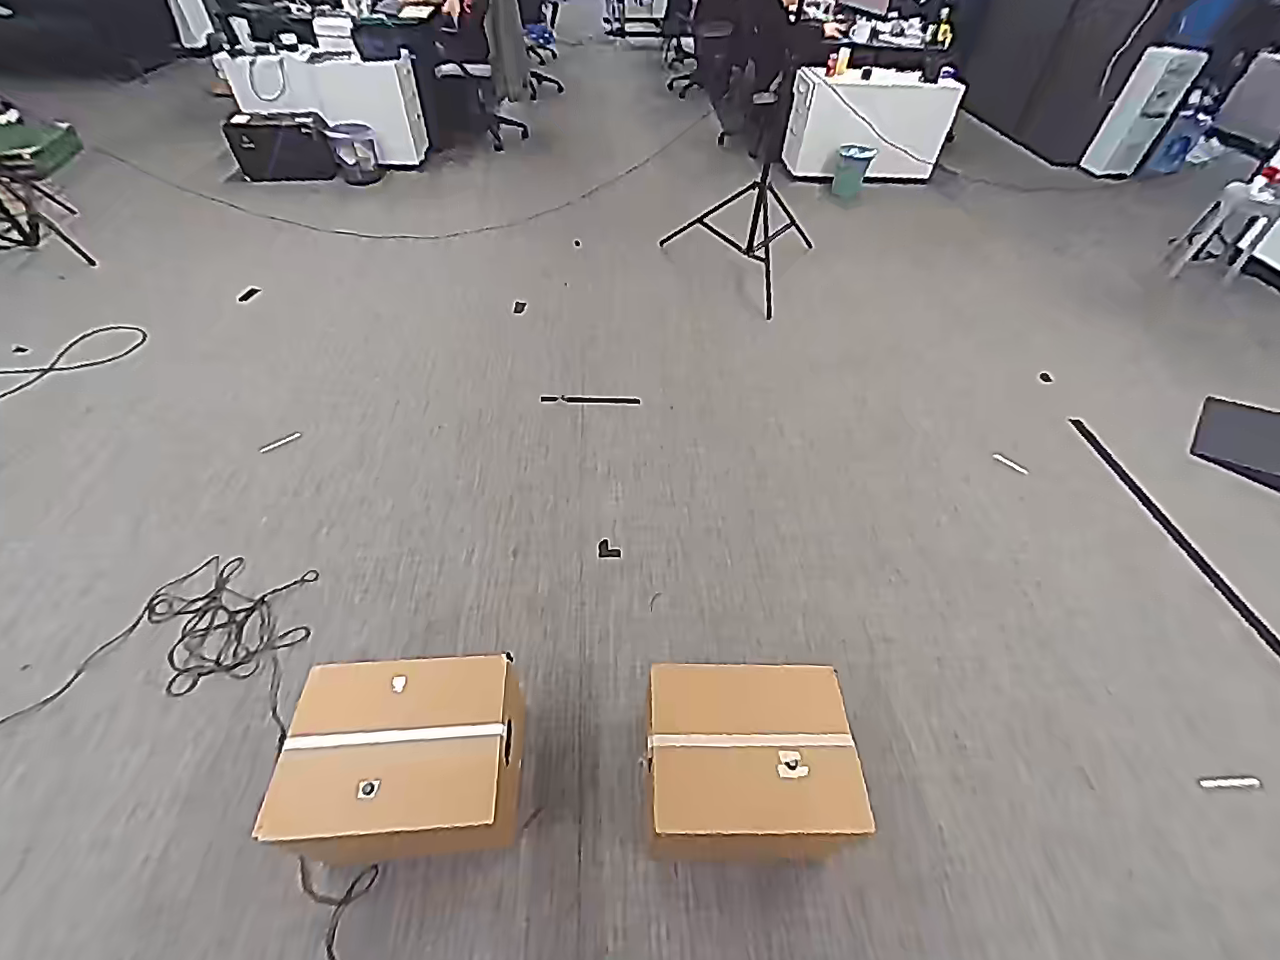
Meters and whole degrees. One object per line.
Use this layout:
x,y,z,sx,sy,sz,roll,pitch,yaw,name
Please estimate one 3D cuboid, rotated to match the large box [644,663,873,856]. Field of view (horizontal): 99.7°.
0.220,0.615,1.189,0.408,0.320,0.320,2,48,-3,large box
